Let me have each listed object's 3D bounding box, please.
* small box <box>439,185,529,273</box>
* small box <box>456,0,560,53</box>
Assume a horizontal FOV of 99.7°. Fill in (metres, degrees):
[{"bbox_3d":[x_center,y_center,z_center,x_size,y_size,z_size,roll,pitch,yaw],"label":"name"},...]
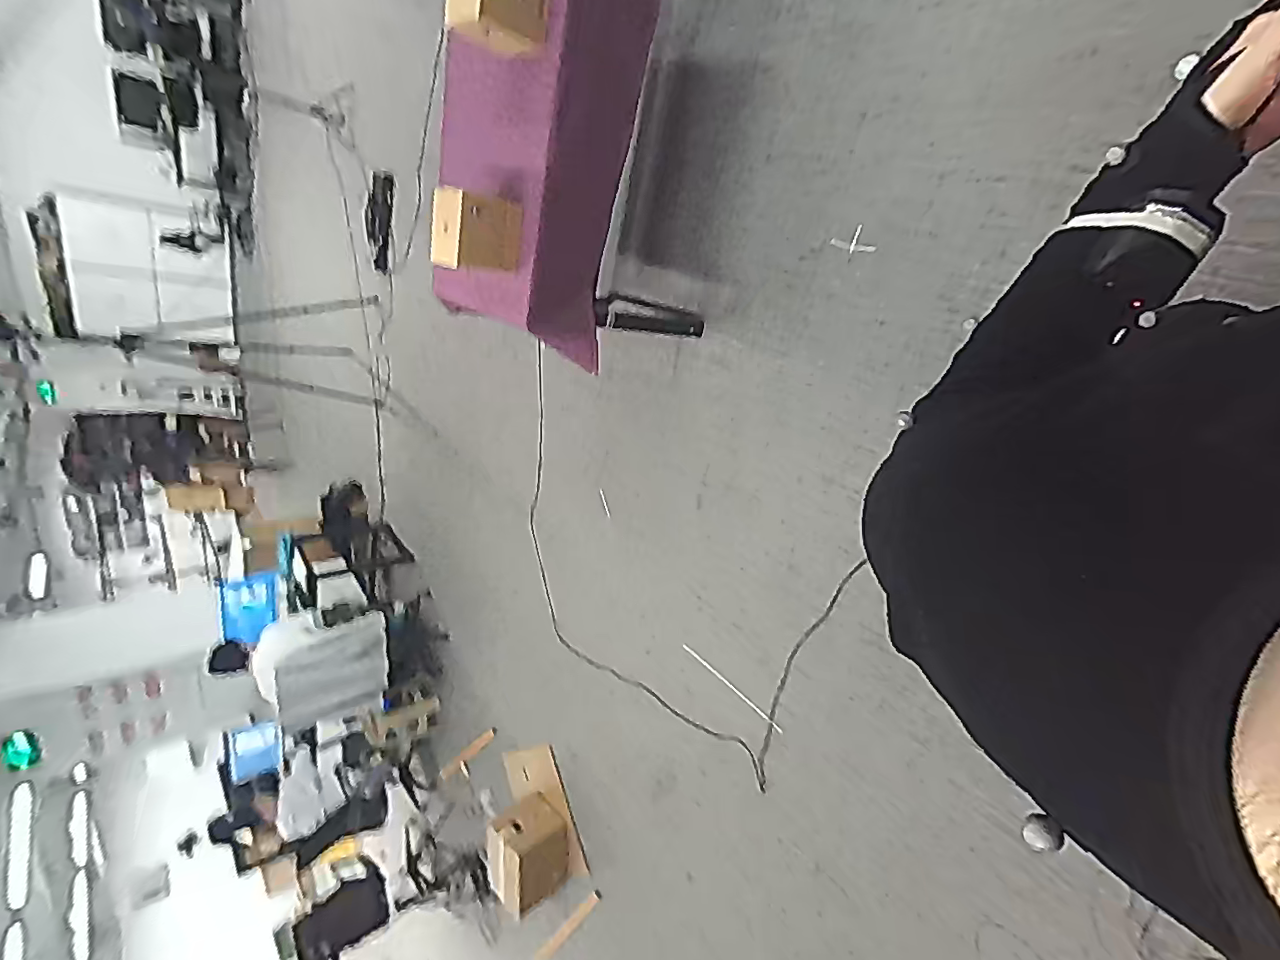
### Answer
[{"bbox_3d":[-0.408,-0.653,1.416,0.168,0.176,0.179,30,116,41],"label":"small box"},{"bbox_3d":[-0.295,-1.106,1.230,0.179,0.176,0.168,34,119,39],"label":"small box"}]
